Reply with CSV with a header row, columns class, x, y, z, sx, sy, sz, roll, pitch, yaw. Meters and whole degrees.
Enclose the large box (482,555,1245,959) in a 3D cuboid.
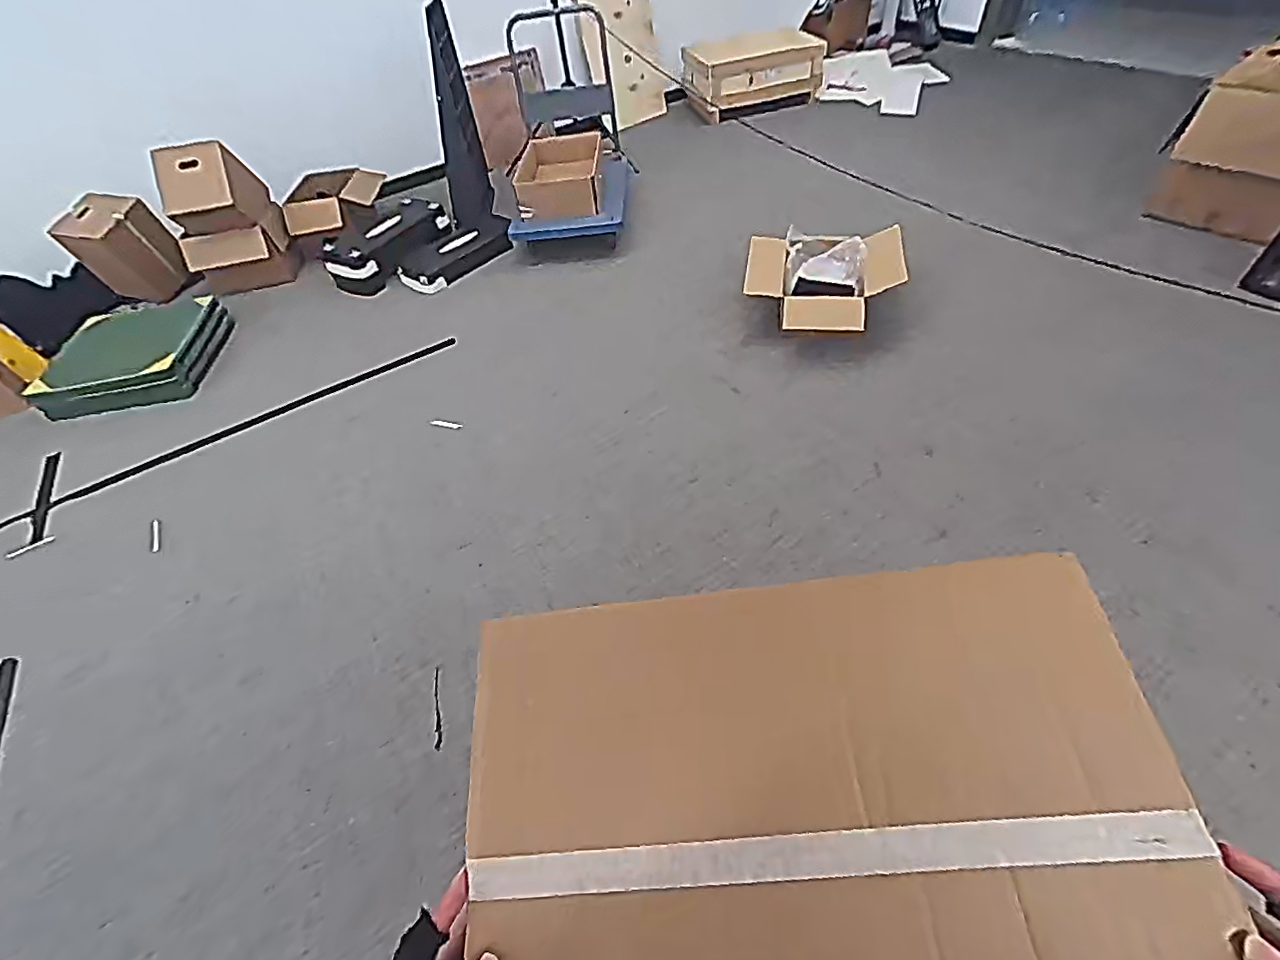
class,x,y,z,sx,sy,sz,roll,pitch,yaw
large box,0.123,0.282,0.445,0.408,0.320,0.320,-8,63,7
